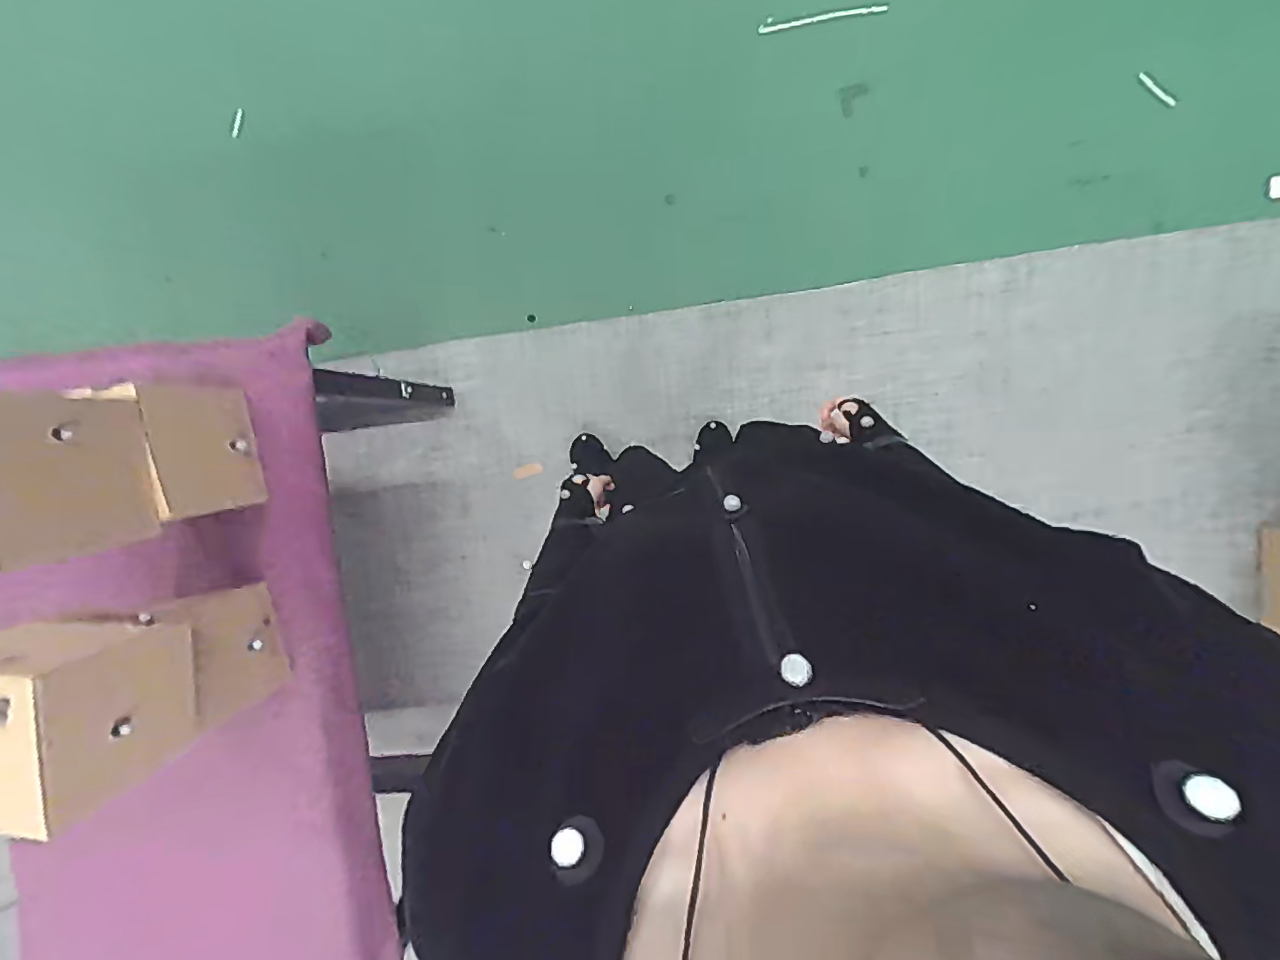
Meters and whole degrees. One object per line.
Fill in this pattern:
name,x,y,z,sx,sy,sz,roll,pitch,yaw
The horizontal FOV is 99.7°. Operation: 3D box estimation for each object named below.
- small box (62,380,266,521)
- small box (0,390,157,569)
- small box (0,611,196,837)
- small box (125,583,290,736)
small box,-0.673,-0.034,0.758,0.168,0.176,0.179,-10,95,7
small box,-0.696,-0.004,0.598,0.168,0.176,0.179,-4,97,6
small box,-0.660,0.262,0.622,0.168,0.176,0.179,2,97,6
small box,-0.663,0.263,0.788,0.179,0.176,0.168,-12,95,7
